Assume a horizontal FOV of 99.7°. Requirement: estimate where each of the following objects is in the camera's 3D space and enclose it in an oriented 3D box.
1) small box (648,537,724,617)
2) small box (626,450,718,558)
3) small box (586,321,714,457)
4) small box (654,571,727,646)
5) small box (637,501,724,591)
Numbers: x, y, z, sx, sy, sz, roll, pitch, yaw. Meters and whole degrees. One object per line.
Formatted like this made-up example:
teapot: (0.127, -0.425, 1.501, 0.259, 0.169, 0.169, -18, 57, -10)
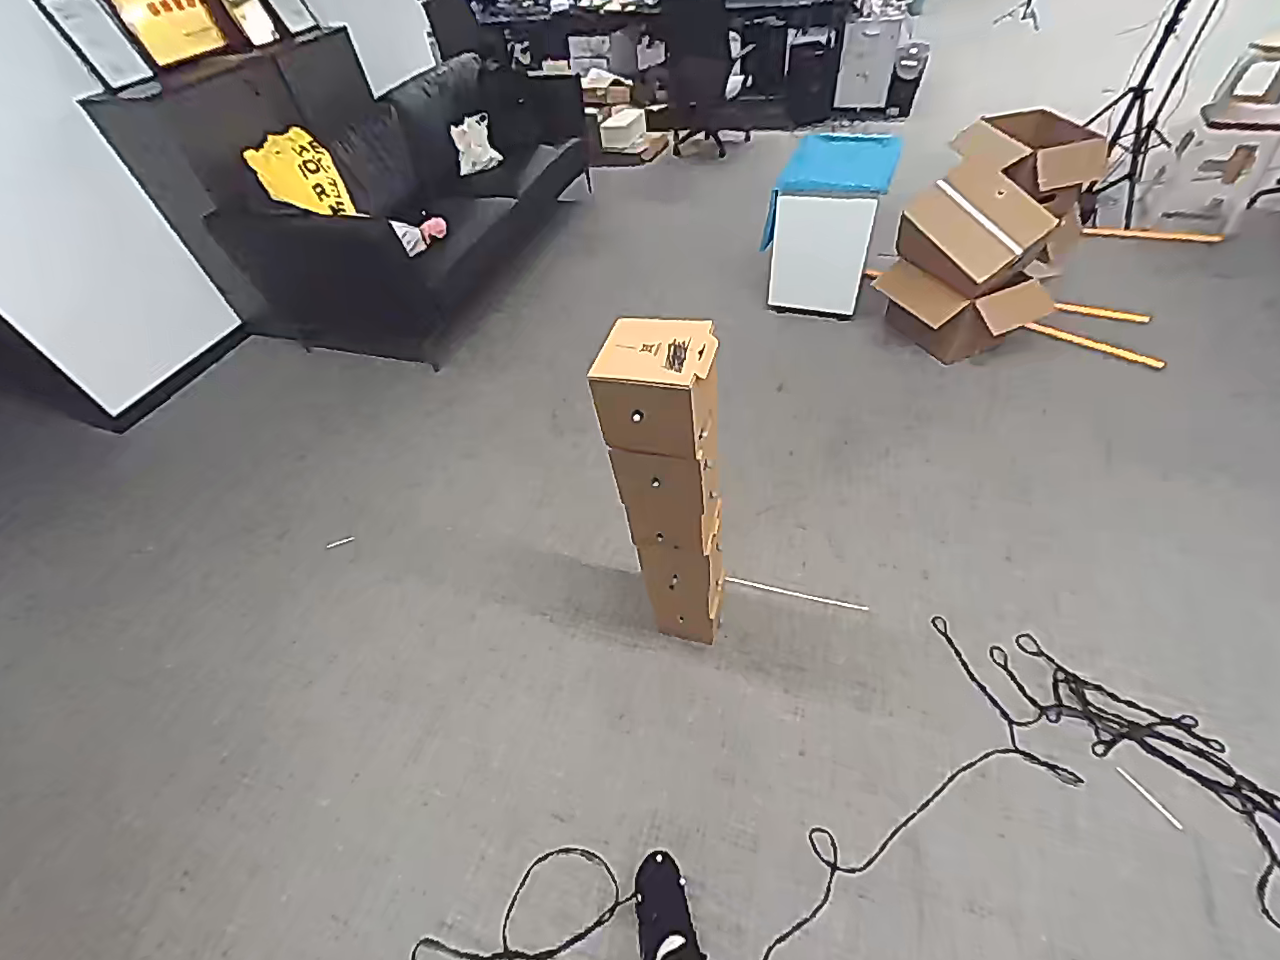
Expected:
small box: (0.125, 0.250, 1.457, 0.179, 0.176, 0.168, 9, 52, 17)
small box: (0.079, 0.047, 1.206, 0.168, 0.176, 0.179, 7, 52, 16)
small box: (0.029, -0.159, 0.955, 0.179, 0.176, 0.168, 8, 52, 18)
small box: (0.153, 0.361, 1.575, 0.179, 0.176, 0.168, 9, 50, 16)
small box: (0.105, 0.154, 1.326, 0.179, 0.176, 0.168, 8, 50, 15)
